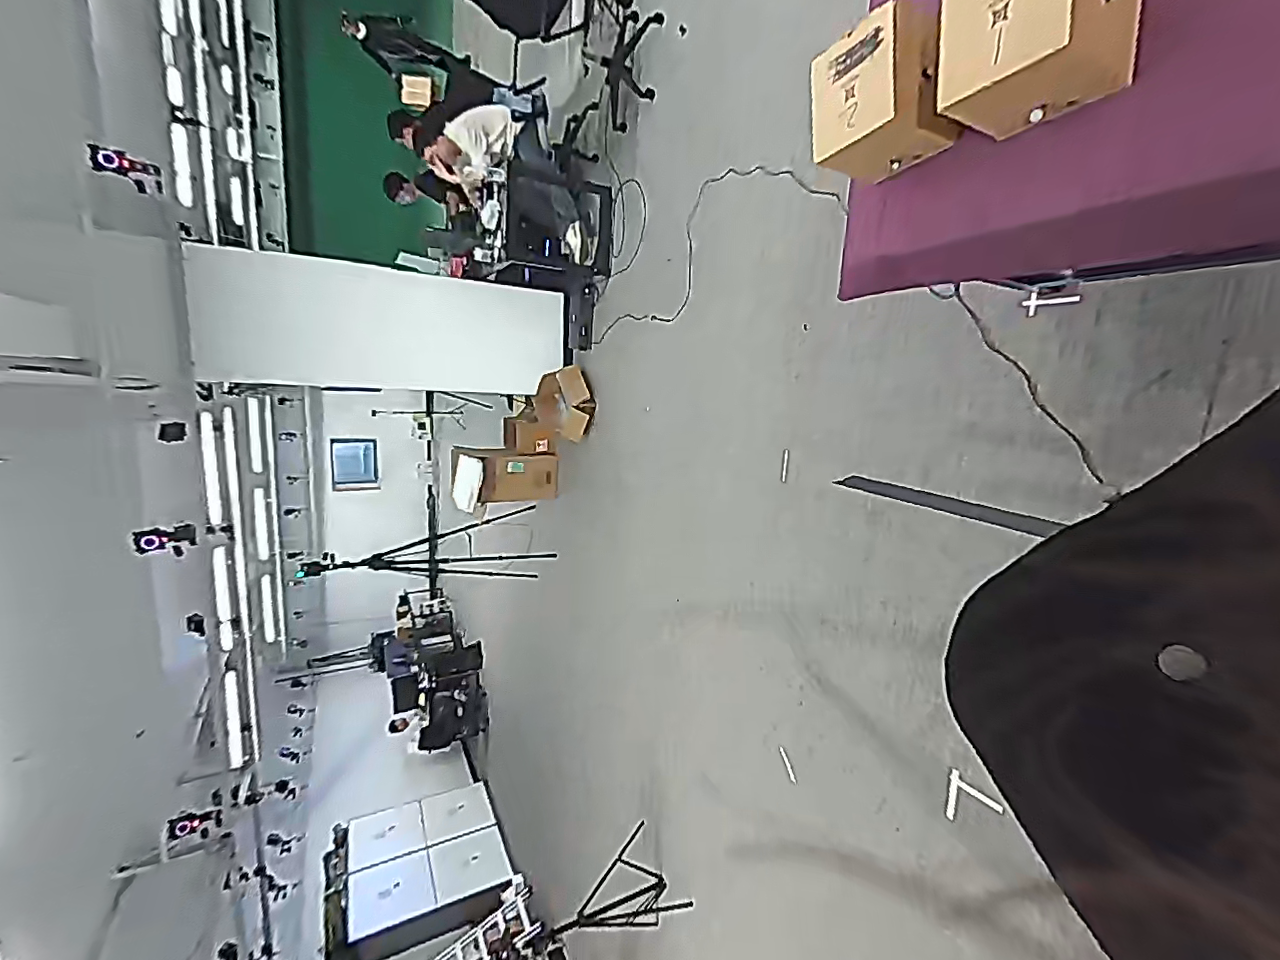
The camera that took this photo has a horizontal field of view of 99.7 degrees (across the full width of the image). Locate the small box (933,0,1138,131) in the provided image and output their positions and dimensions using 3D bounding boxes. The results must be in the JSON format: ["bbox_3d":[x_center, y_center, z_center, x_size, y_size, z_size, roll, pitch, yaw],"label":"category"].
[{"bbox_3d":[0.526,-0.609,0.722,0.168,0.176,0.179,13,105,61],"label":"small box"}]
